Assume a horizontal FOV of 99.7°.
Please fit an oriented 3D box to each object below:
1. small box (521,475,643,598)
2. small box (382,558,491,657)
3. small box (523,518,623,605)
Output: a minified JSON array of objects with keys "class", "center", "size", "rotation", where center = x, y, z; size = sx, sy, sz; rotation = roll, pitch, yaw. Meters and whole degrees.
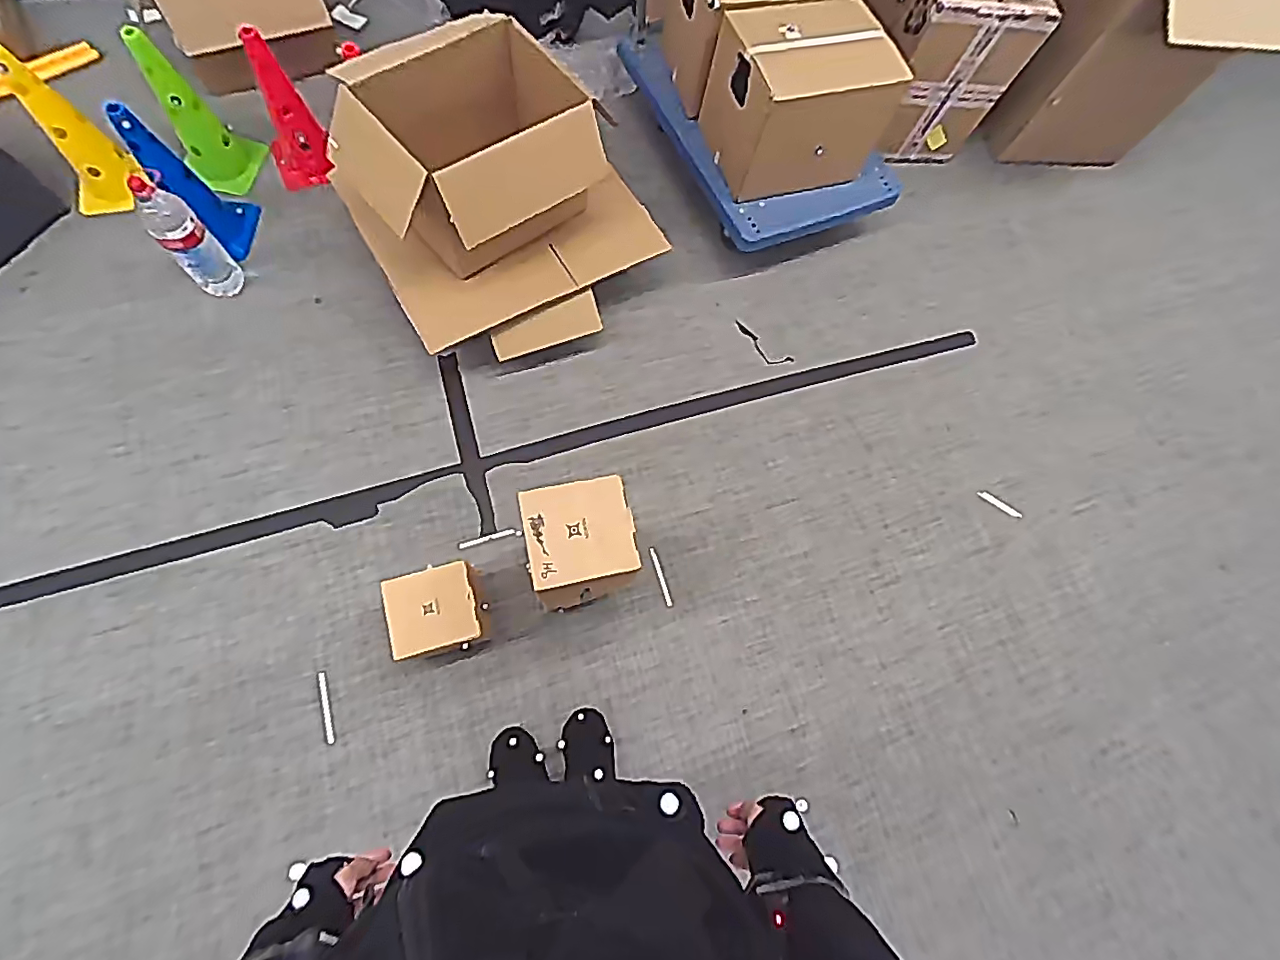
[{"class":"small box","center":[-0.108,0.104,0.948],"size":[0.179,0.176,0.168],"rotation":[-10,74,-12]},{"class":"small box","center":[-0.442,0.287,1.191],"size":[0.179,0.176,0.168],"rotation":[-15,74,-13]},{"class":"small box","center":[-0.131,0.151,1.103],"size":[0.179,0.176,0.168],"rotation":[-13,75,-13]}]
